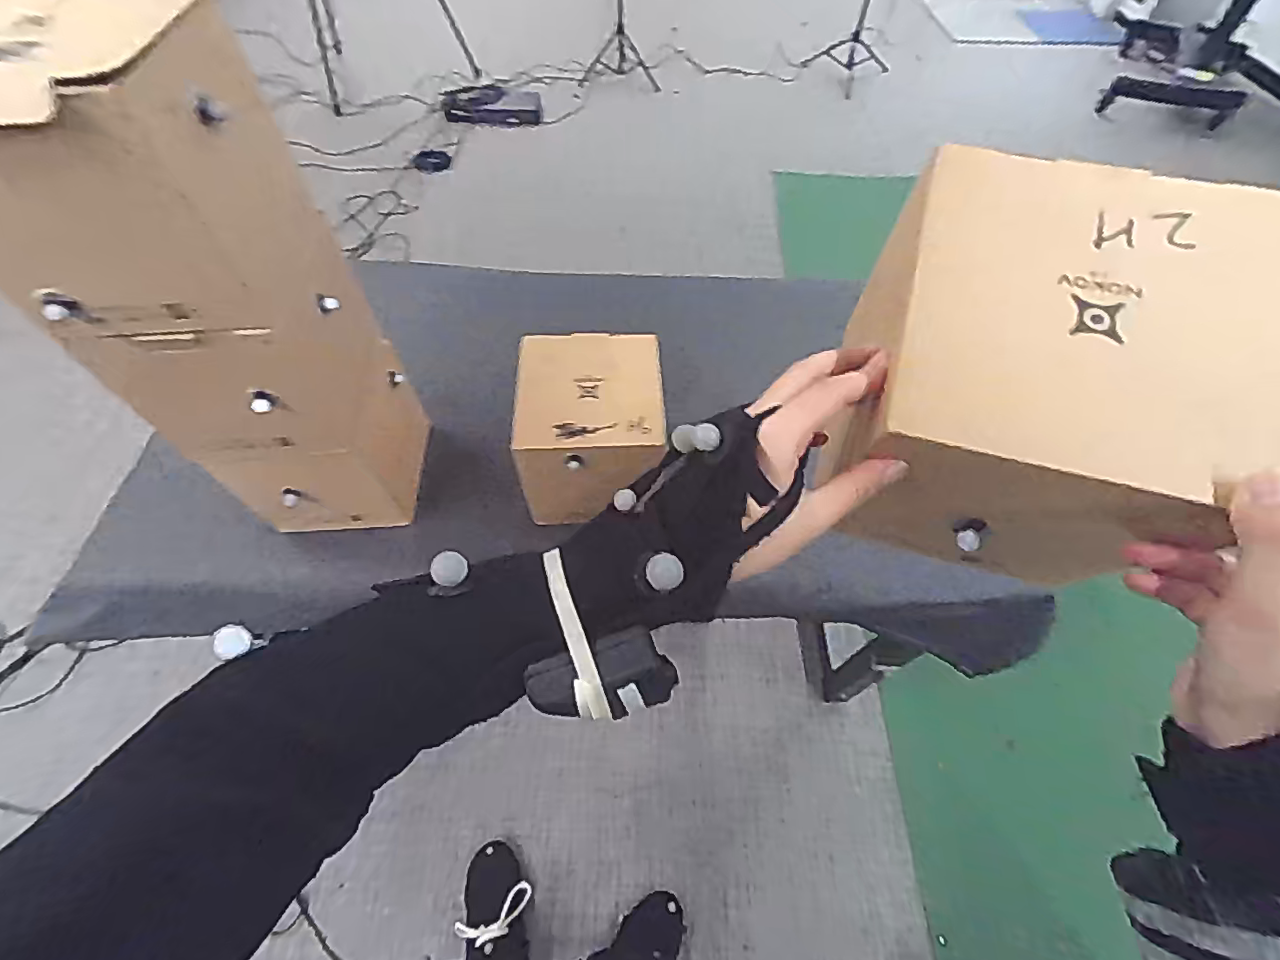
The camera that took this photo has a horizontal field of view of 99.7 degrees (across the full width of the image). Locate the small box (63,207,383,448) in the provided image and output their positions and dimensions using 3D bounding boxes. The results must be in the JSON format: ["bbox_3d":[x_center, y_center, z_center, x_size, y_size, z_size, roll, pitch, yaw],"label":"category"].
[{"bbox_3d":[-0.377,-0.143,0.536,0.168,0.176,0.179,-3,55,-5],"label":"small box"}]

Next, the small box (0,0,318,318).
[{"bbox_3d":[-0.371,-0.236,0.400,0.168,0.176,0.179,-4,56,-6],"label":"small box"}]

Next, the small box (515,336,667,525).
[{"bbox_3d":[-0.057,-0.060,0.686,0.168,0.176,0.179,-1,56,-3],"label":"small box"}]

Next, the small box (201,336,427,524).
[{"bbox_3d":[-0.380,-0.054,0.672,0.168,0.176,0.179,-2,56,-4],"label":"small box"}]
